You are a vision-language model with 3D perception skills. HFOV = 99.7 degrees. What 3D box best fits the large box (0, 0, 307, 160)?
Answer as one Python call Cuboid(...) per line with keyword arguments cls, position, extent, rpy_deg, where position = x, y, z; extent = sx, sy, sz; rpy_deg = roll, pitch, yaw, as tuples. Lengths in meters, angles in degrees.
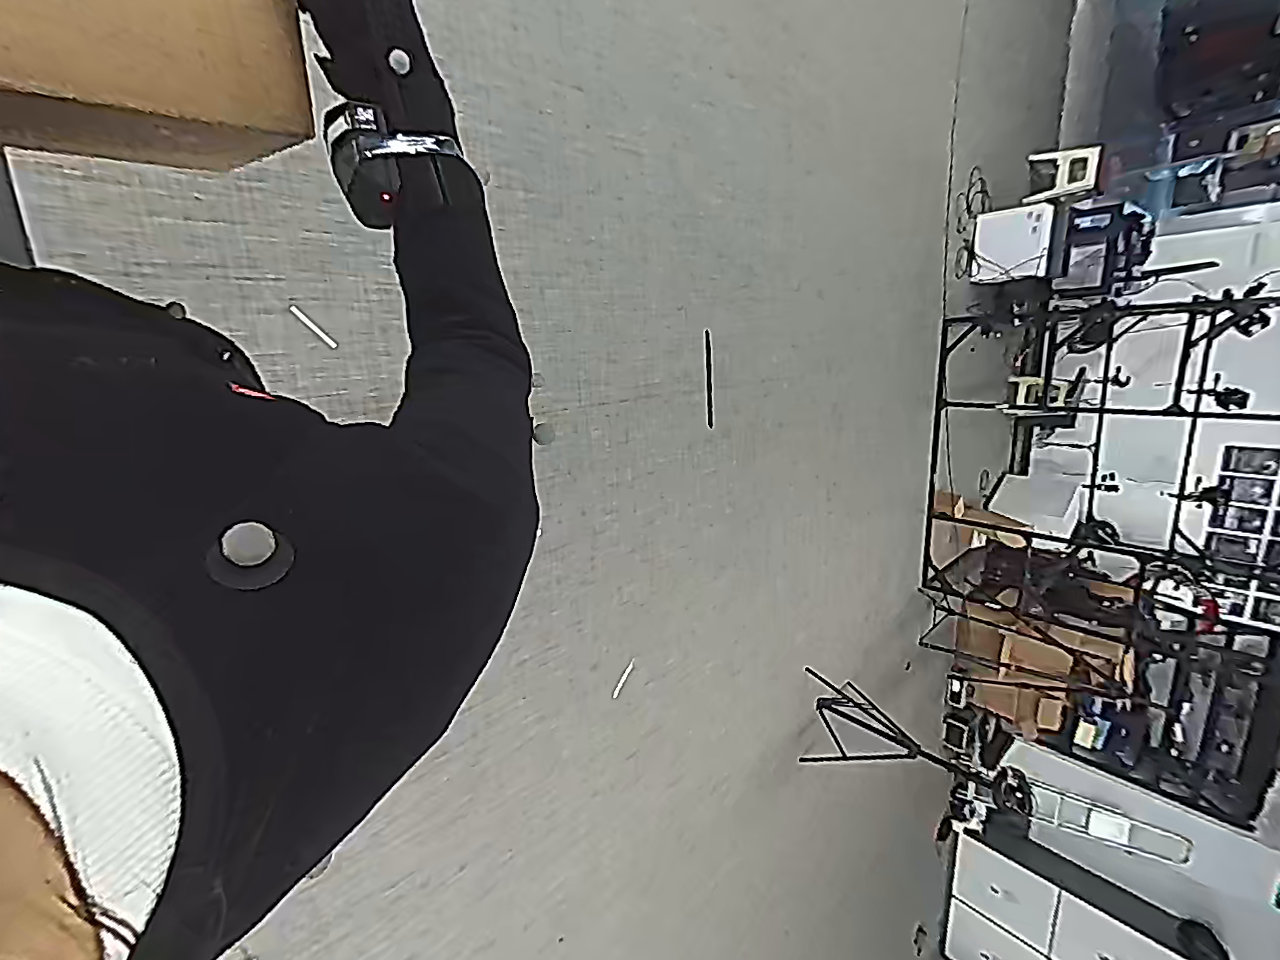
Cuboid(cls="large box", position=(-0.480, -0.390, 0.300), extent=(0.408, 0.320, 0.320), rpy_deg=(-19, 122, -42))
